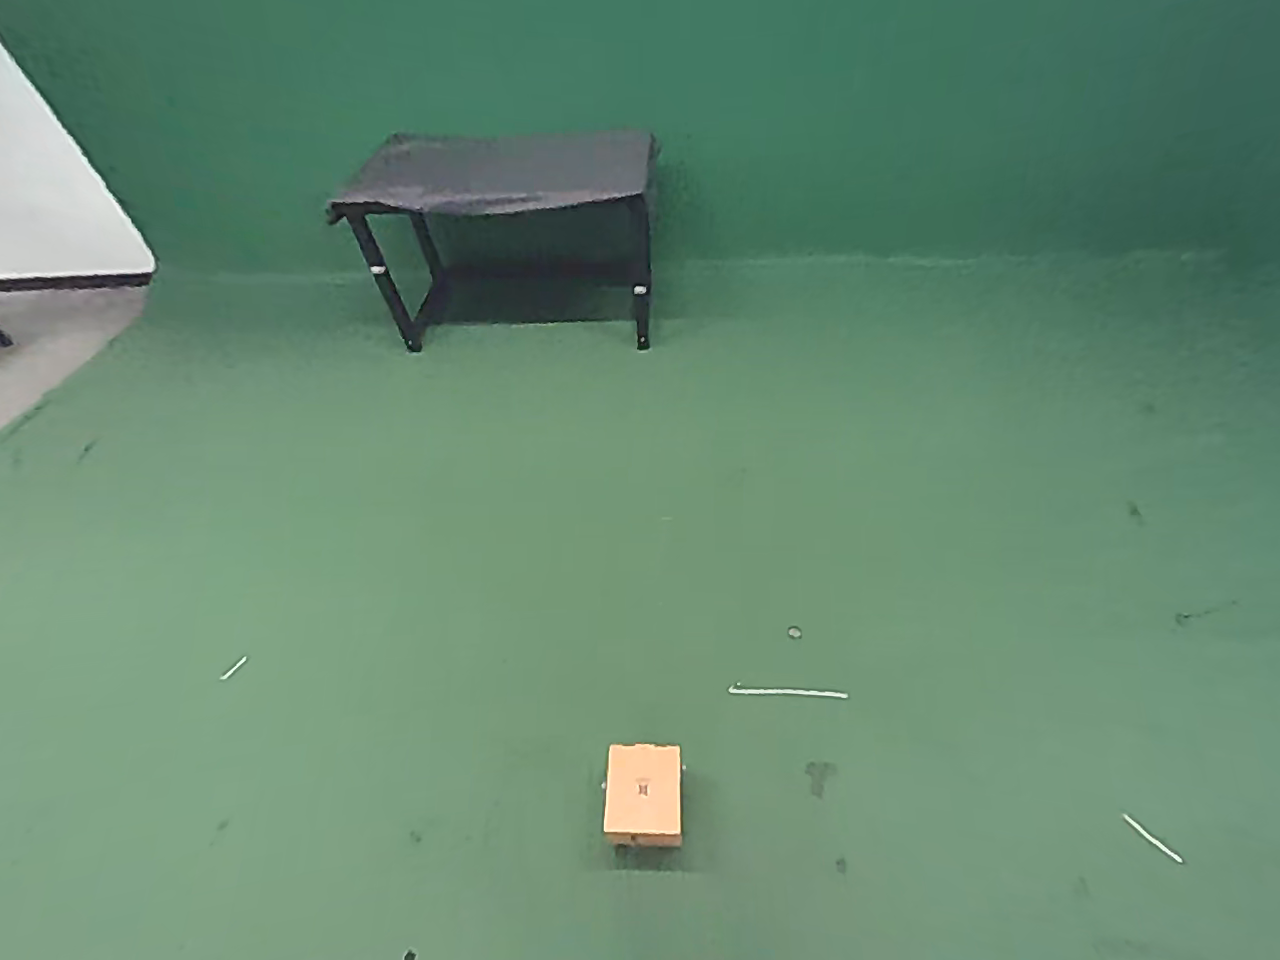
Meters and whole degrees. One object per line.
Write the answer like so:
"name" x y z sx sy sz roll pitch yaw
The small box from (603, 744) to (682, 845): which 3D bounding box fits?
"small box" 0.013 0.730 1.251 0.168 0.176 0.179 -1 48 4
